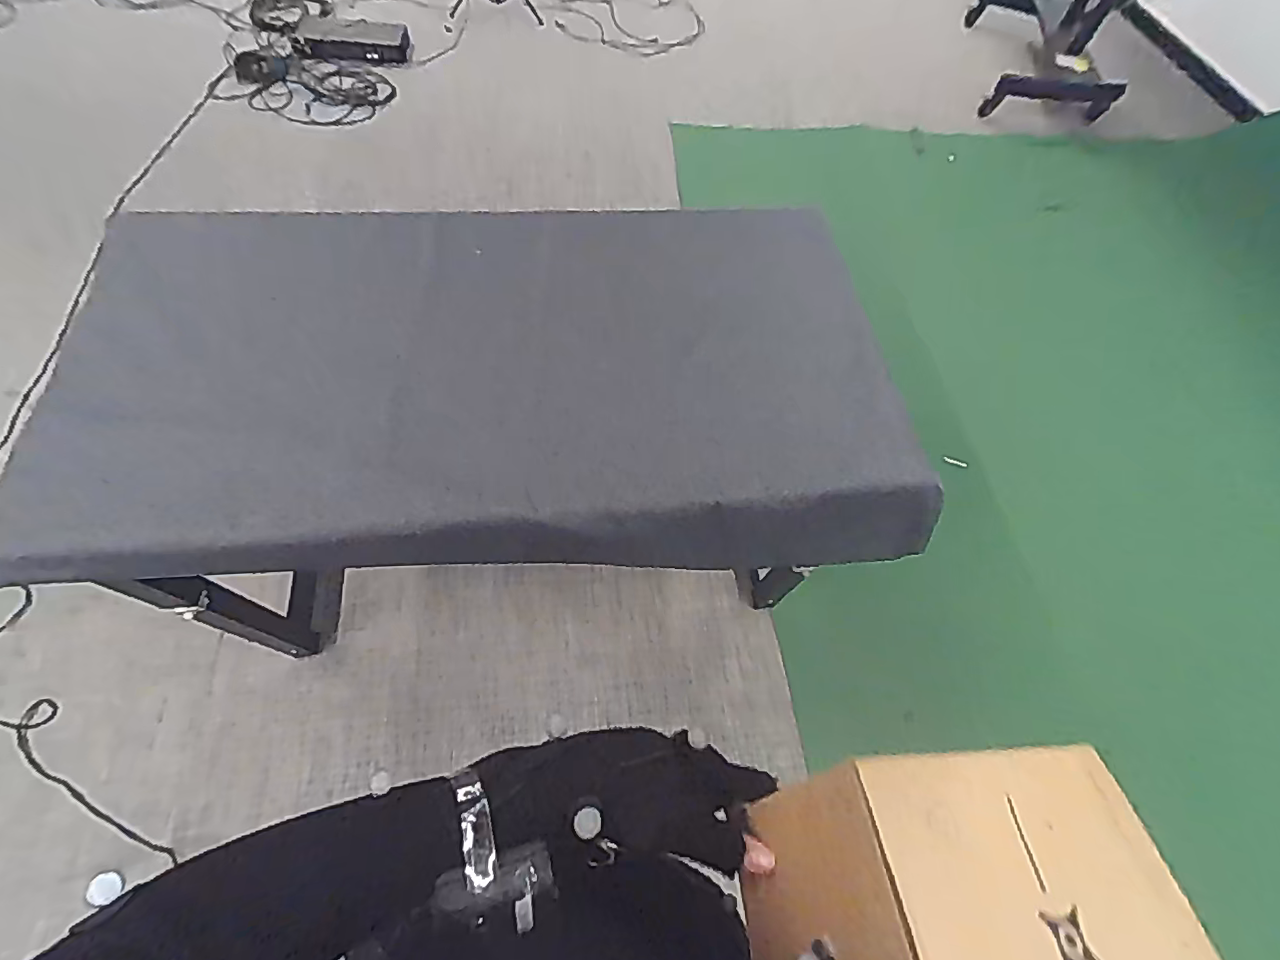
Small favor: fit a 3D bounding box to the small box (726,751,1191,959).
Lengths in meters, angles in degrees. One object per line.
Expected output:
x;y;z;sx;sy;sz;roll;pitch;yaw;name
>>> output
0.165;0.270;0.306;0.168;0.176;0.179;7;48;-15;small box
